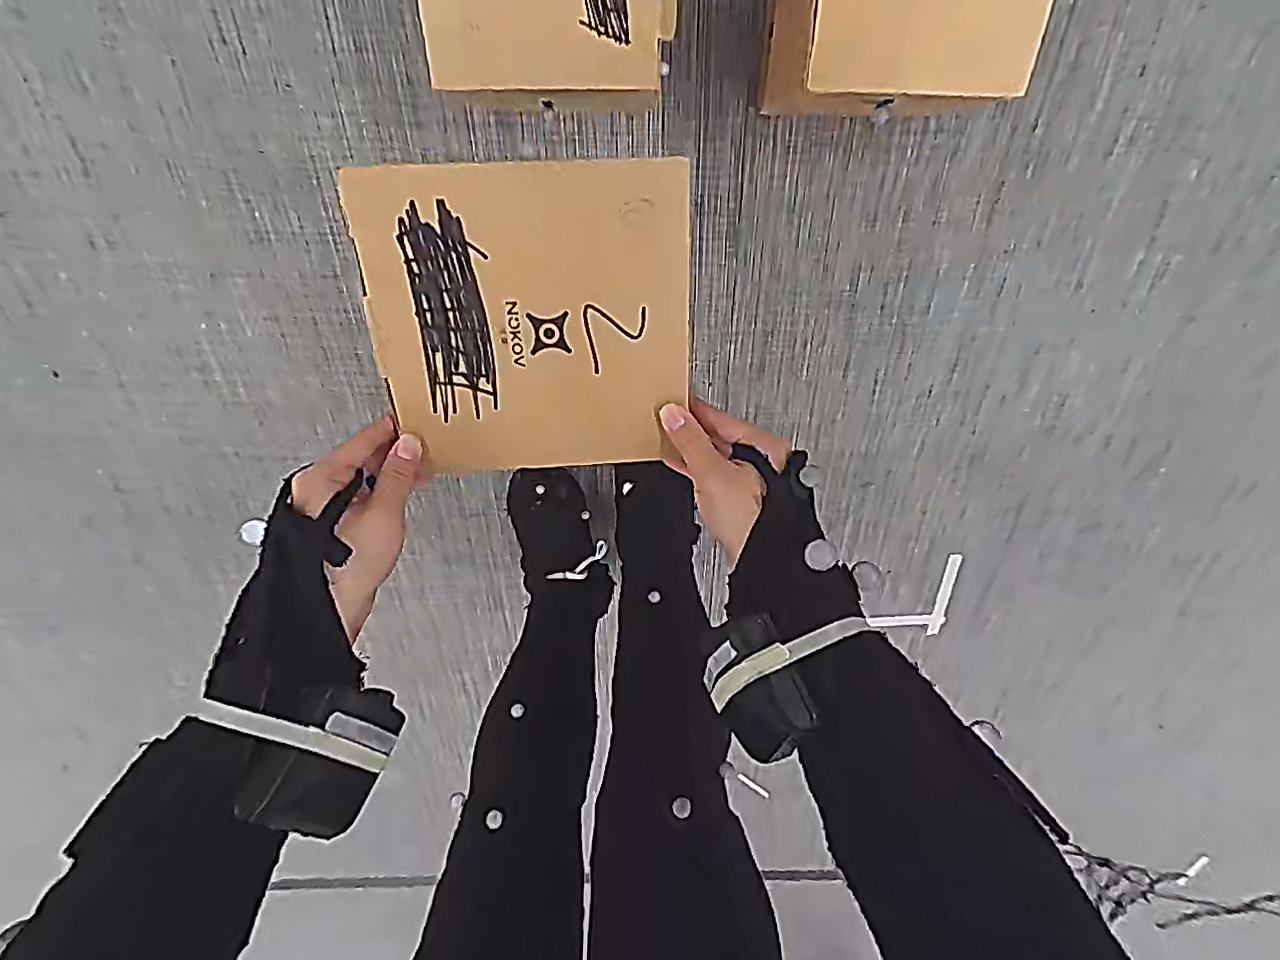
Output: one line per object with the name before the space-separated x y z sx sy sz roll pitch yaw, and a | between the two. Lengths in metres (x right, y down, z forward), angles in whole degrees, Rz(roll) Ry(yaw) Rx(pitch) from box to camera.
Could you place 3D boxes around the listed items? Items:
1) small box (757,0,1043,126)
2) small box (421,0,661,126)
small box | 0.211 -0.406 0.459 0.179 0.176 0.168 1 120 -1
small box | -0.073 -0.402 0.453 0.179 0.176 0.168 0 120 0
